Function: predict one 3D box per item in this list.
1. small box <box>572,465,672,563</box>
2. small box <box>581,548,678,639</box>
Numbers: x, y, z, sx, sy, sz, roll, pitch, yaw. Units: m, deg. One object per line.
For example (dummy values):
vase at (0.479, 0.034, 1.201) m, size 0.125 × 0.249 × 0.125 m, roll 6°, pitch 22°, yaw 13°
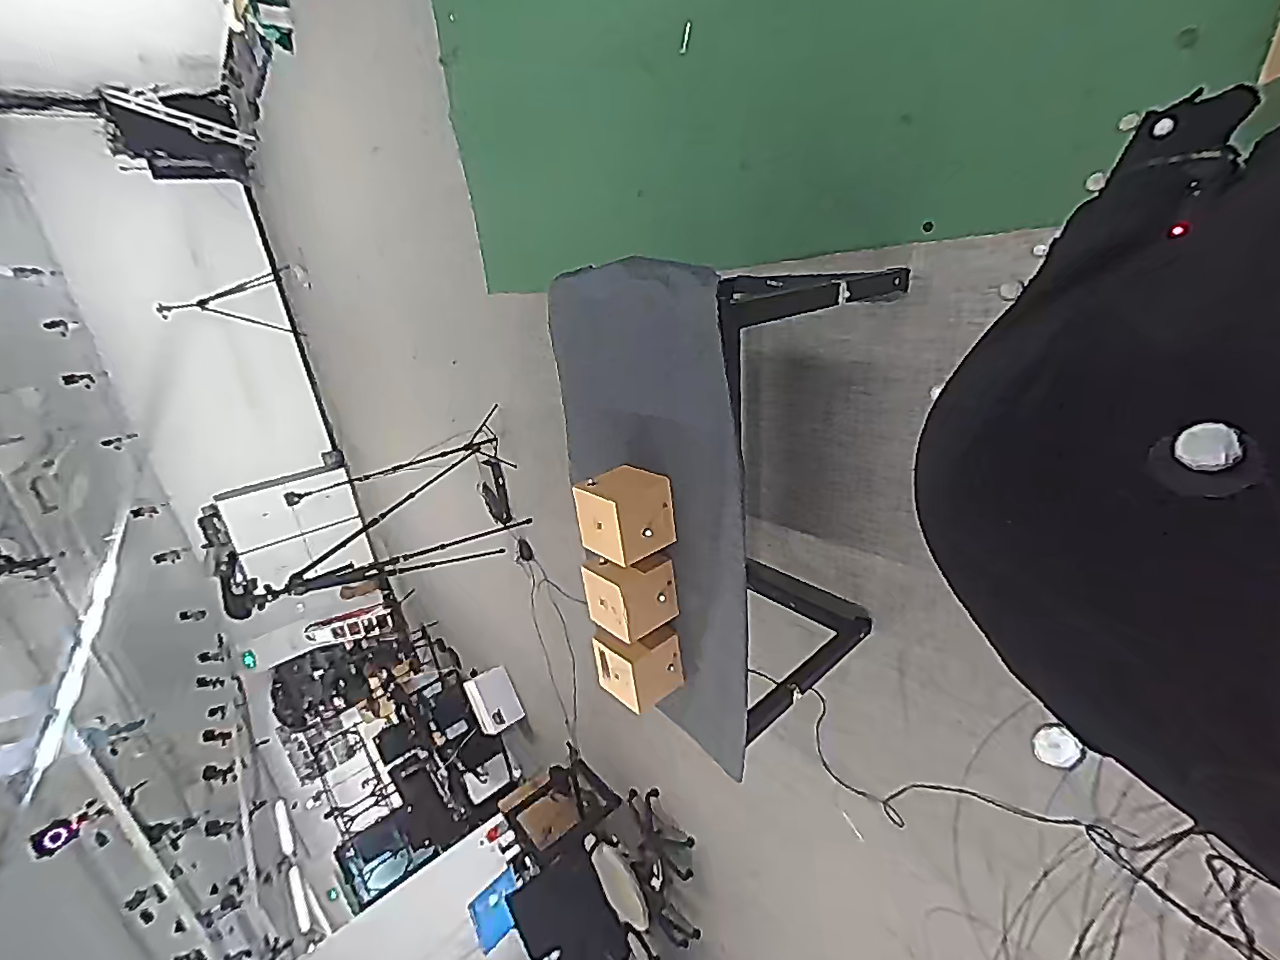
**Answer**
small box at (-0.035, 0.072, 1.302) m, size 0.179 × 0.176 × 0.168 m, roll 17°, pitch 122°, yaw 49°
small box at (-0.026, 0.274, 1.399) m, size 0.179 × 0.176 × 0.168 m, roll 15°, pitch 121°, yaw 49°
